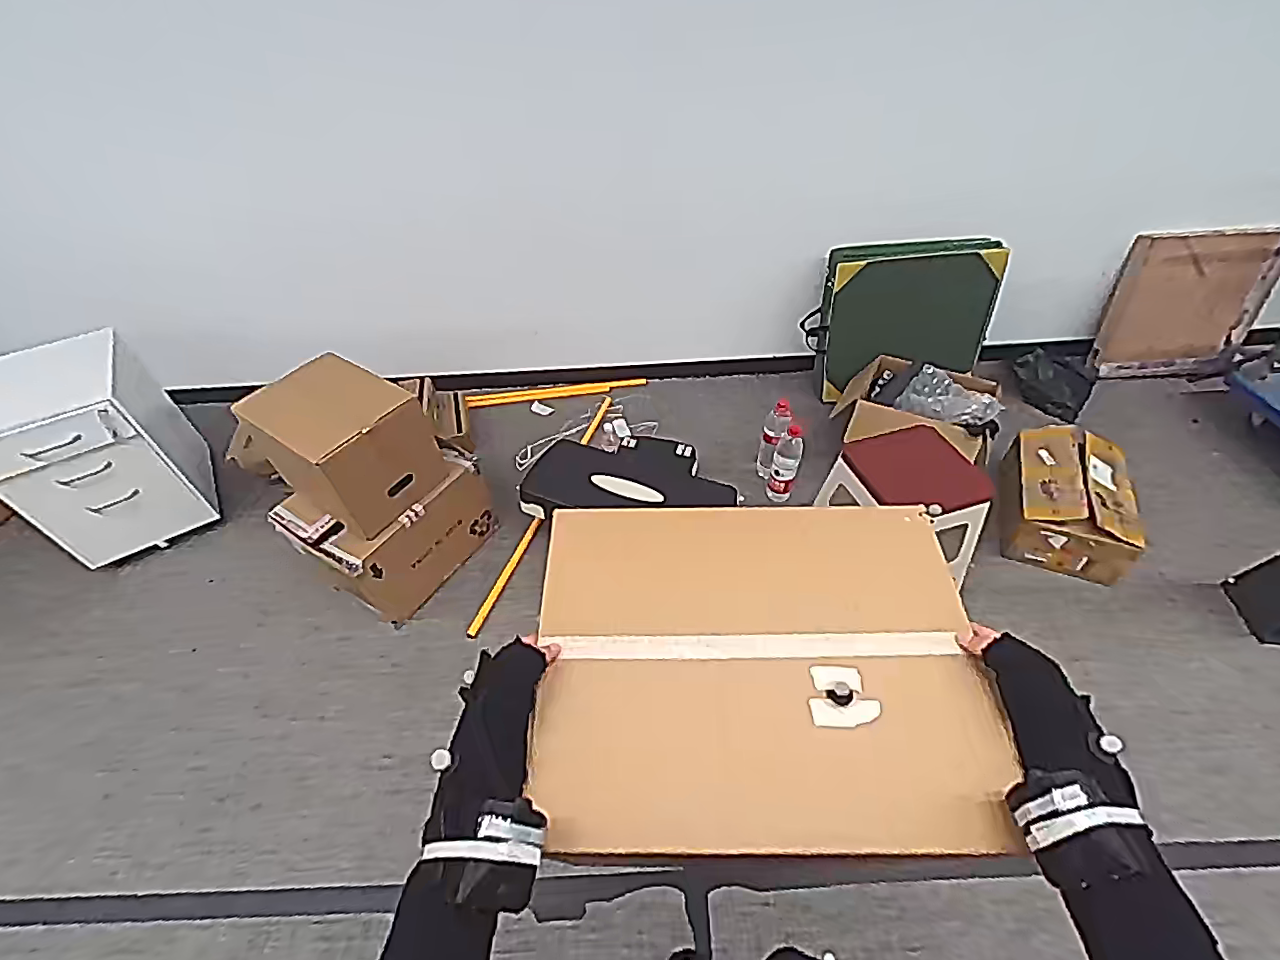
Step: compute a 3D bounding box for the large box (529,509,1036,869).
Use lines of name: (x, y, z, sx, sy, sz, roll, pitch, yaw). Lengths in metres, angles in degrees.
large box: (0.110, 0.248, 0.625, 0.408, 0.320, 0.320, -1, 53, 1)
